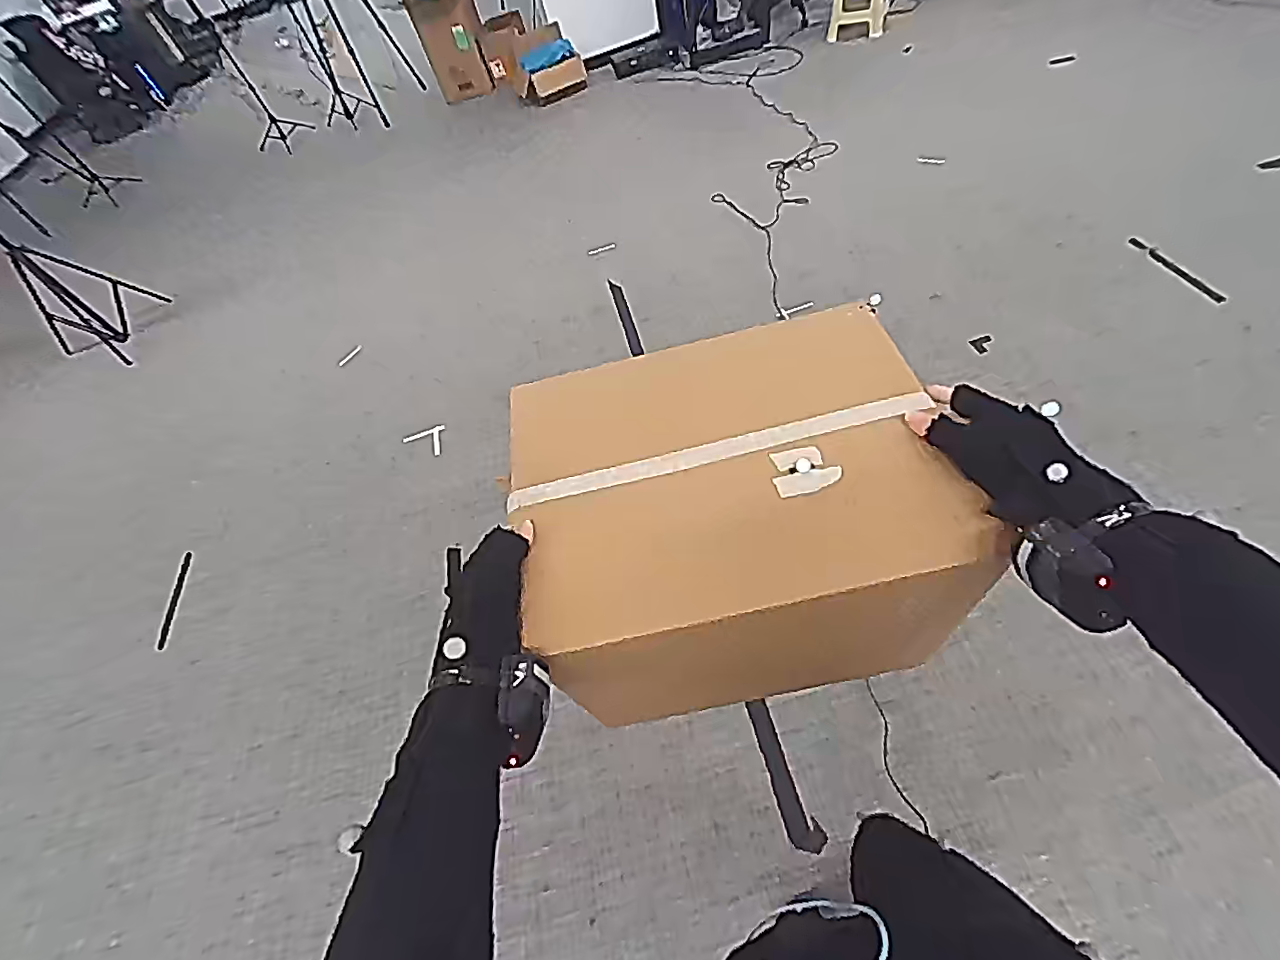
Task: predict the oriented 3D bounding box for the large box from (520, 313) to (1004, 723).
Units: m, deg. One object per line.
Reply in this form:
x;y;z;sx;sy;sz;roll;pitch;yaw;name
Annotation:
0.103;0.062;0.648;0.408;0.320;0.320;-13;55;2;large box
